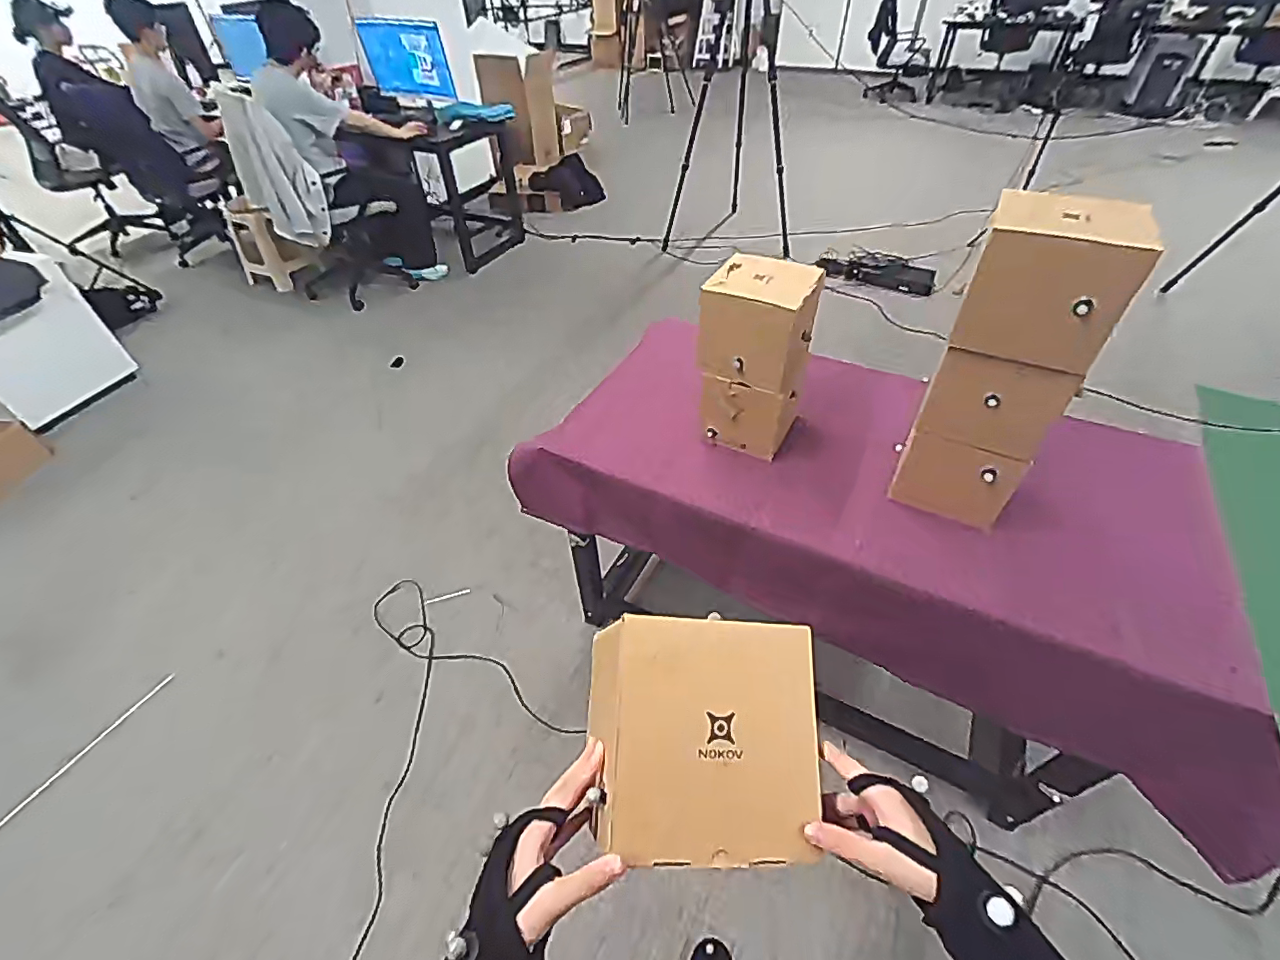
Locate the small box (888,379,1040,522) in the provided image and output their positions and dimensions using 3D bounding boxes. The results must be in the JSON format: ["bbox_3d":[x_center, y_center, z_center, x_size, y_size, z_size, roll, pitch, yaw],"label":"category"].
[{"bbox_3d":[0.576,-0.050,0.973,0.179,0.176,0.168,21,50,22],"label":"small box"}]

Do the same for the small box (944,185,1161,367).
[{"bbox_3d":[0.548,-0.276,0.737,0.179,0.176,0.168,21,49,22],"label":"small box"}]

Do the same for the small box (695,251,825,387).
[{"bbox_3d":[0.216,-0.295,1.000,0.179,0.176,0.168,22,50,21],"label":"small box"}]

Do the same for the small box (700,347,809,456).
[{"bbox_3d":[0.232,-0.177,1.115,0.168,0.176,0.179,21,49,20],"label":"small box"}]
